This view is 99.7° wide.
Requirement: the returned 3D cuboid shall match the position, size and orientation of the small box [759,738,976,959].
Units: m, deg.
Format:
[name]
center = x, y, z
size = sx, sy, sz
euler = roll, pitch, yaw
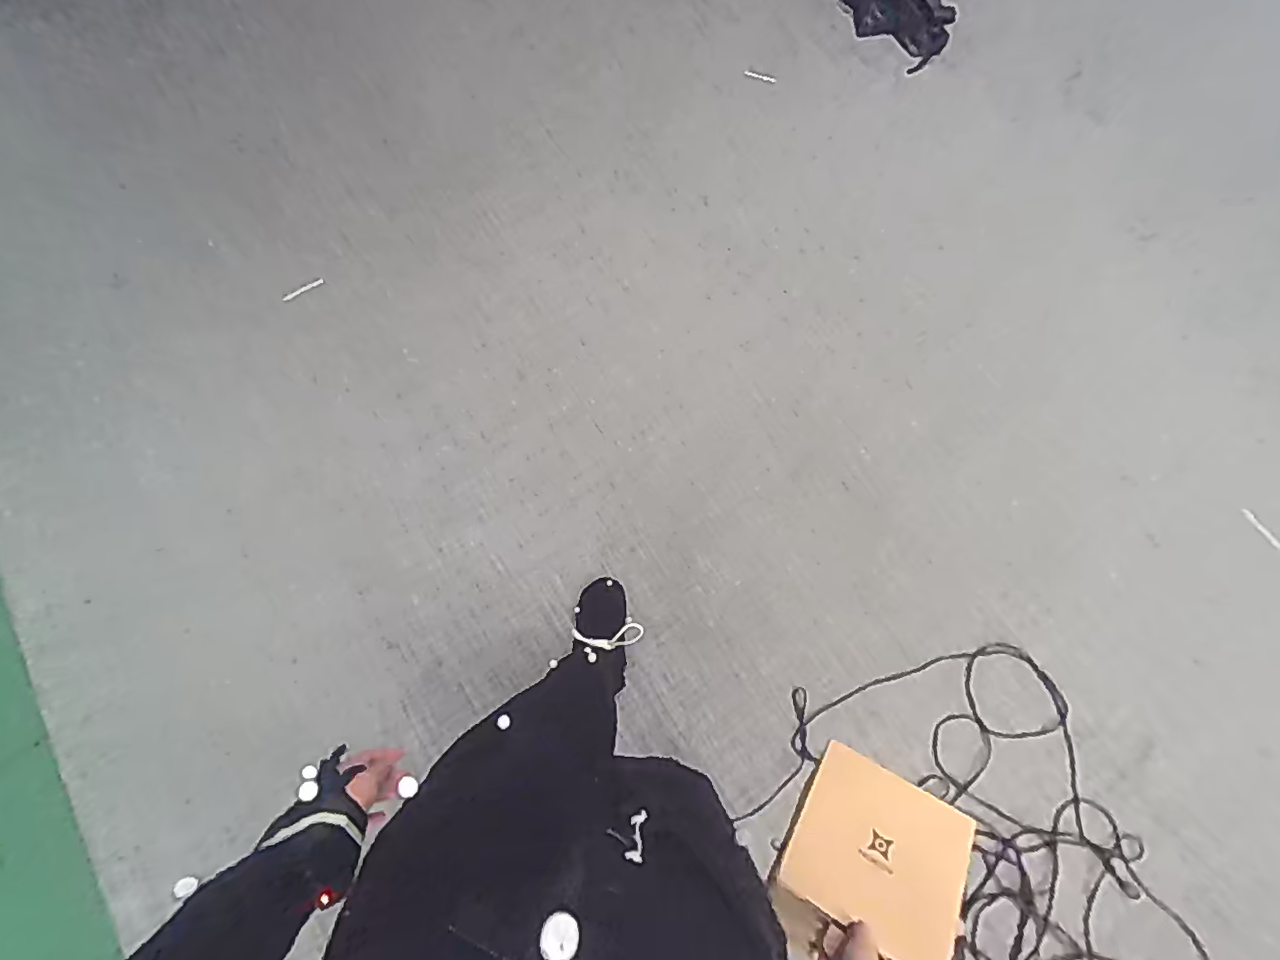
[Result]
[small box]
center = 0.251, 0.447, 0.620
size = 0.168, 0.176, 0.179
euler = 24, 46, 25
